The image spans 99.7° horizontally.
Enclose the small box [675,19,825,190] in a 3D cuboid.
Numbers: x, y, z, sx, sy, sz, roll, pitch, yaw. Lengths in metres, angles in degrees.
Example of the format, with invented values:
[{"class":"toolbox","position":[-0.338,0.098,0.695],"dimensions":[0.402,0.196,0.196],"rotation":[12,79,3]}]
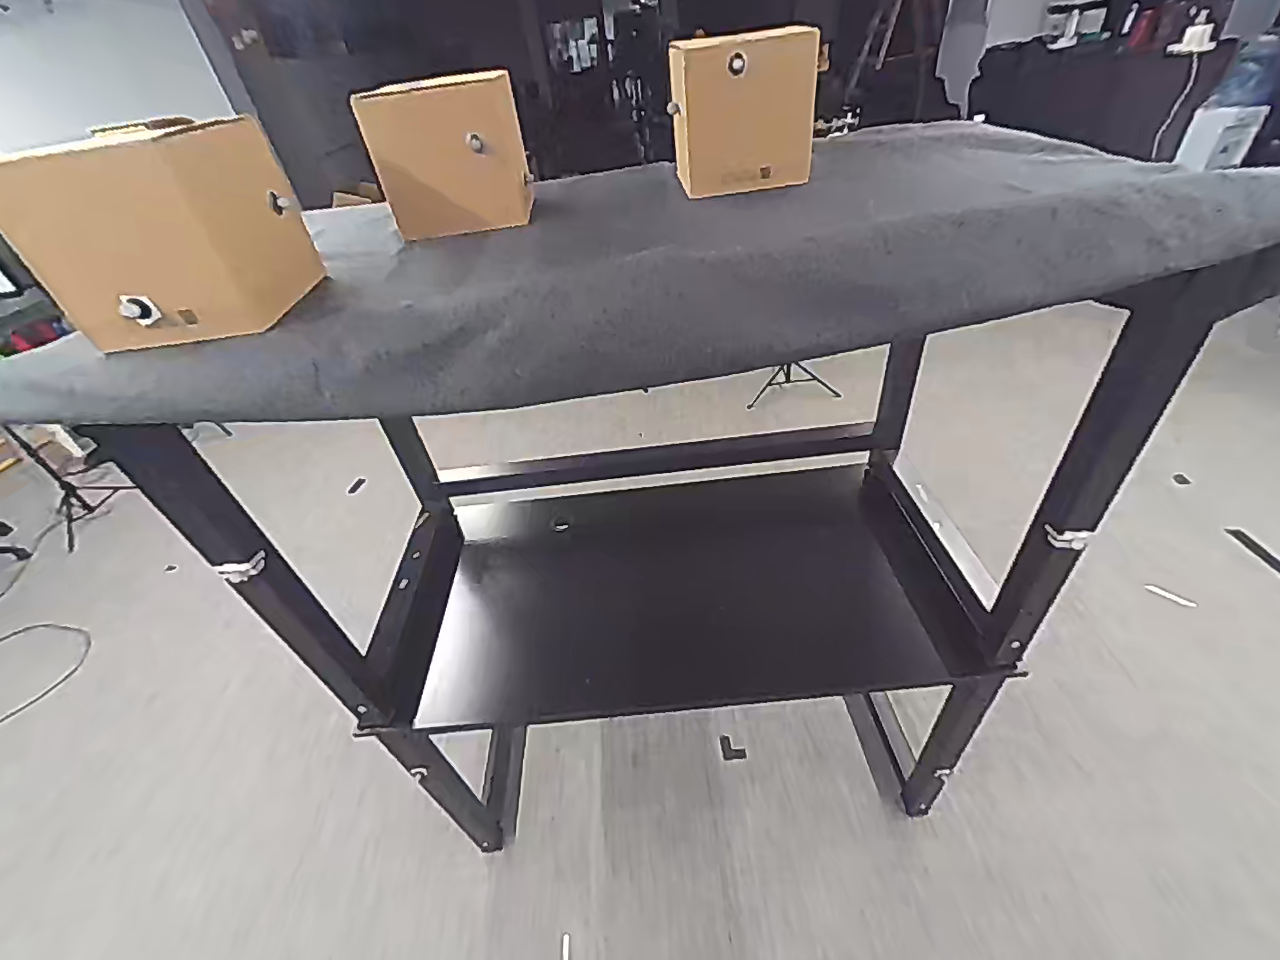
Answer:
[{"class":"small box","position":[0.140,-0.512,0.744],"dimensions":[0.168,0.176,0.179],"rotation":[-7,39,2]}]

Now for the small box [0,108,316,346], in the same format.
[{"class":"small box","position":[-0.456,-0.249,0.530],"dimensions":[0.168,0.176,0.179],"rotation":[-8,39,0]}]
